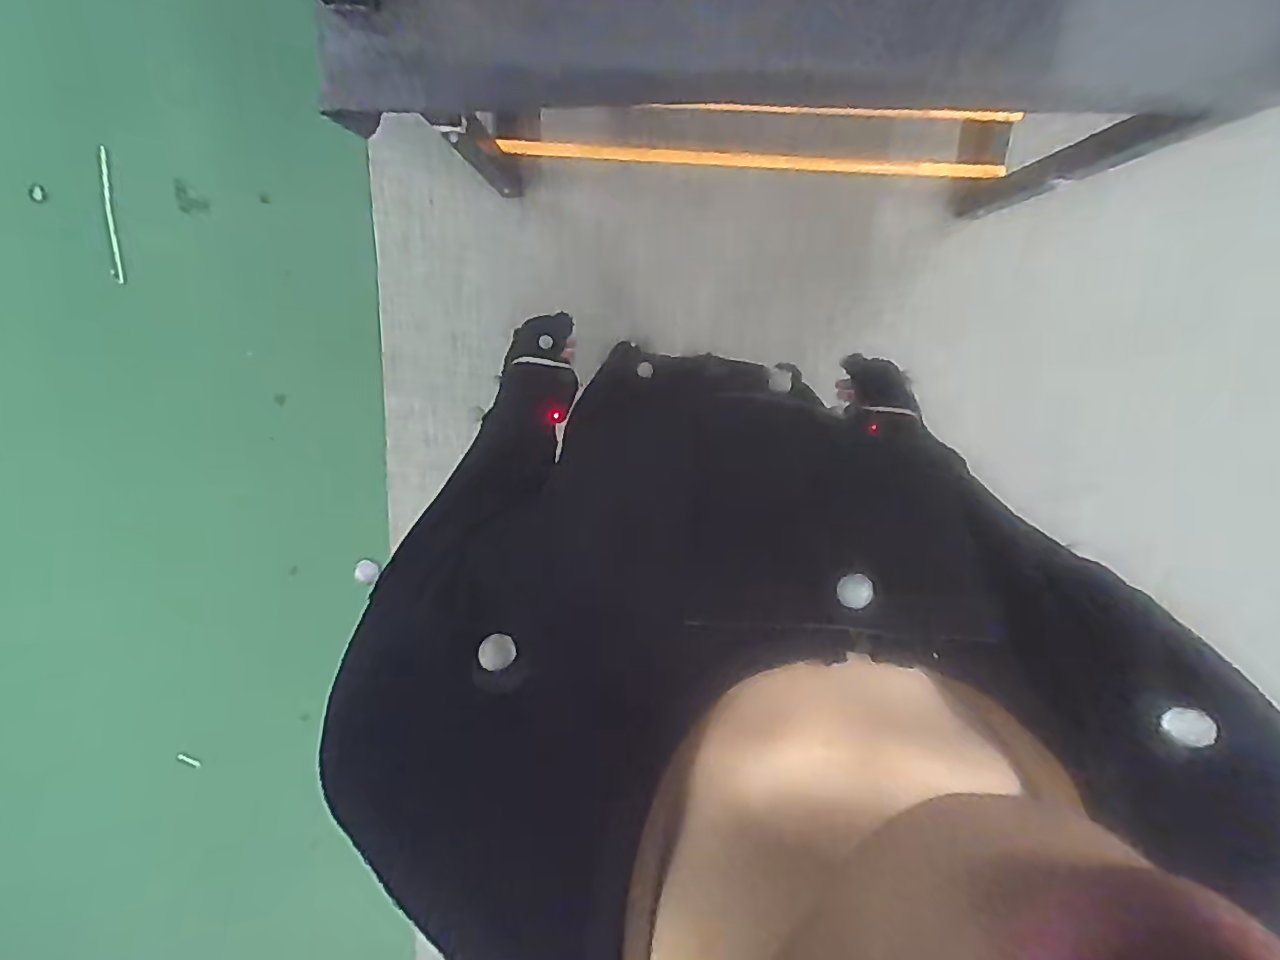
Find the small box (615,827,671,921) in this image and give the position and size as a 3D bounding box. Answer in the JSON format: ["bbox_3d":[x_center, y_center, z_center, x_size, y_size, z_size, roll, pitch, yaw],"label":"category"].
[{"bbox_3d":[0.008,1.226,1.689,0.168,0.176,0.179,0,101,-1],"label":"small box"}]
